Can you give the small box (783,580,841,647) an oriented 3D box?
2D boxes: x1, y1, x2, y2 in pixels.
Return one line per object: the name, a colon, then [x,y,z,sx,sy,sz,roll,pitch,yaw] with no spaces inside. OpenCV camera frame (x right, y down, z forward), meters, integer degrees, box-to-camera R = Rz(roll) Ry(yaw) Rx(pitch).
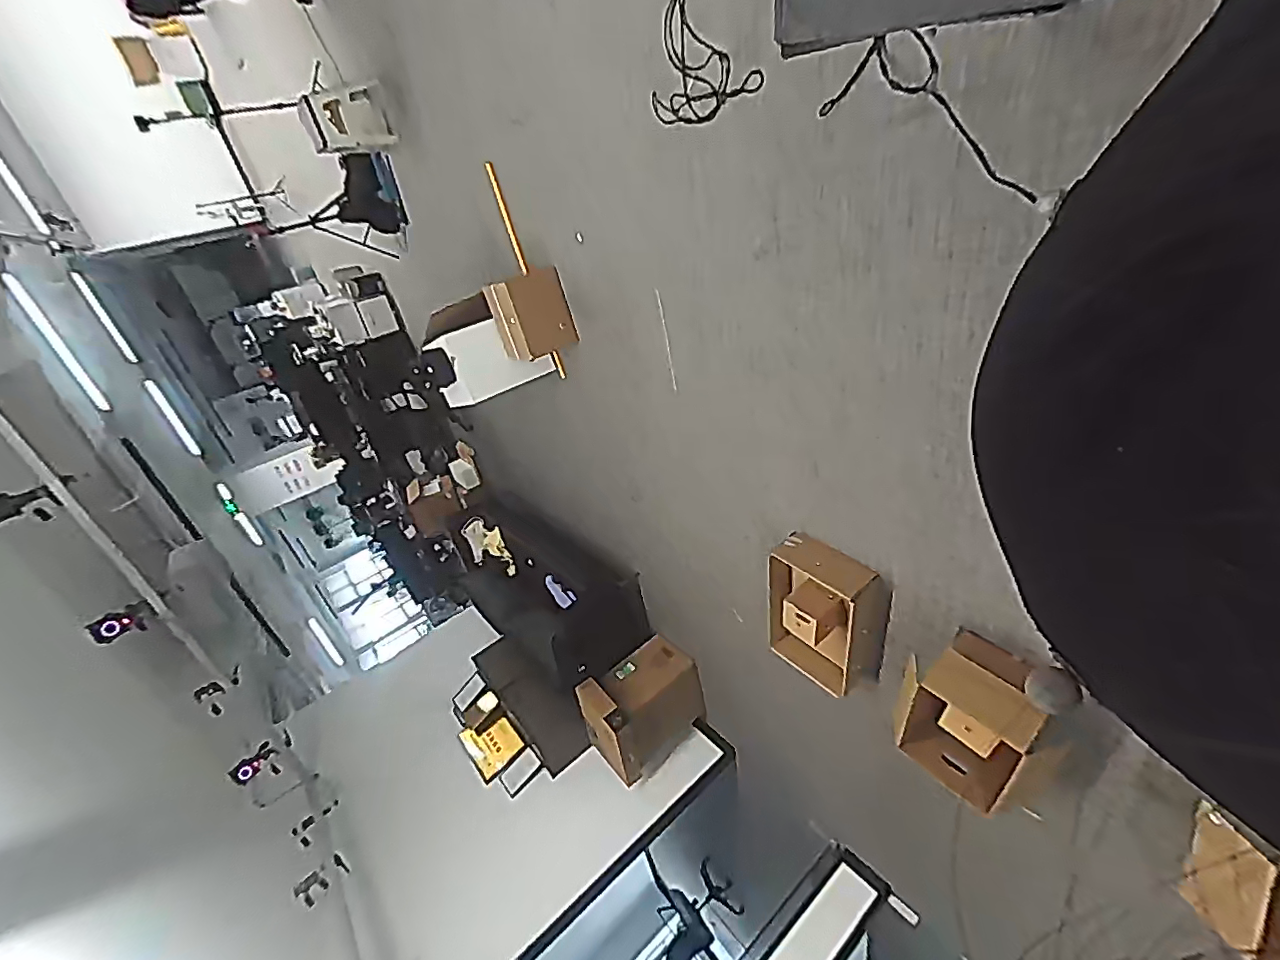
small box: [0.718,0.551,2.255,0.168,0.176,0.179,33,144,42]
